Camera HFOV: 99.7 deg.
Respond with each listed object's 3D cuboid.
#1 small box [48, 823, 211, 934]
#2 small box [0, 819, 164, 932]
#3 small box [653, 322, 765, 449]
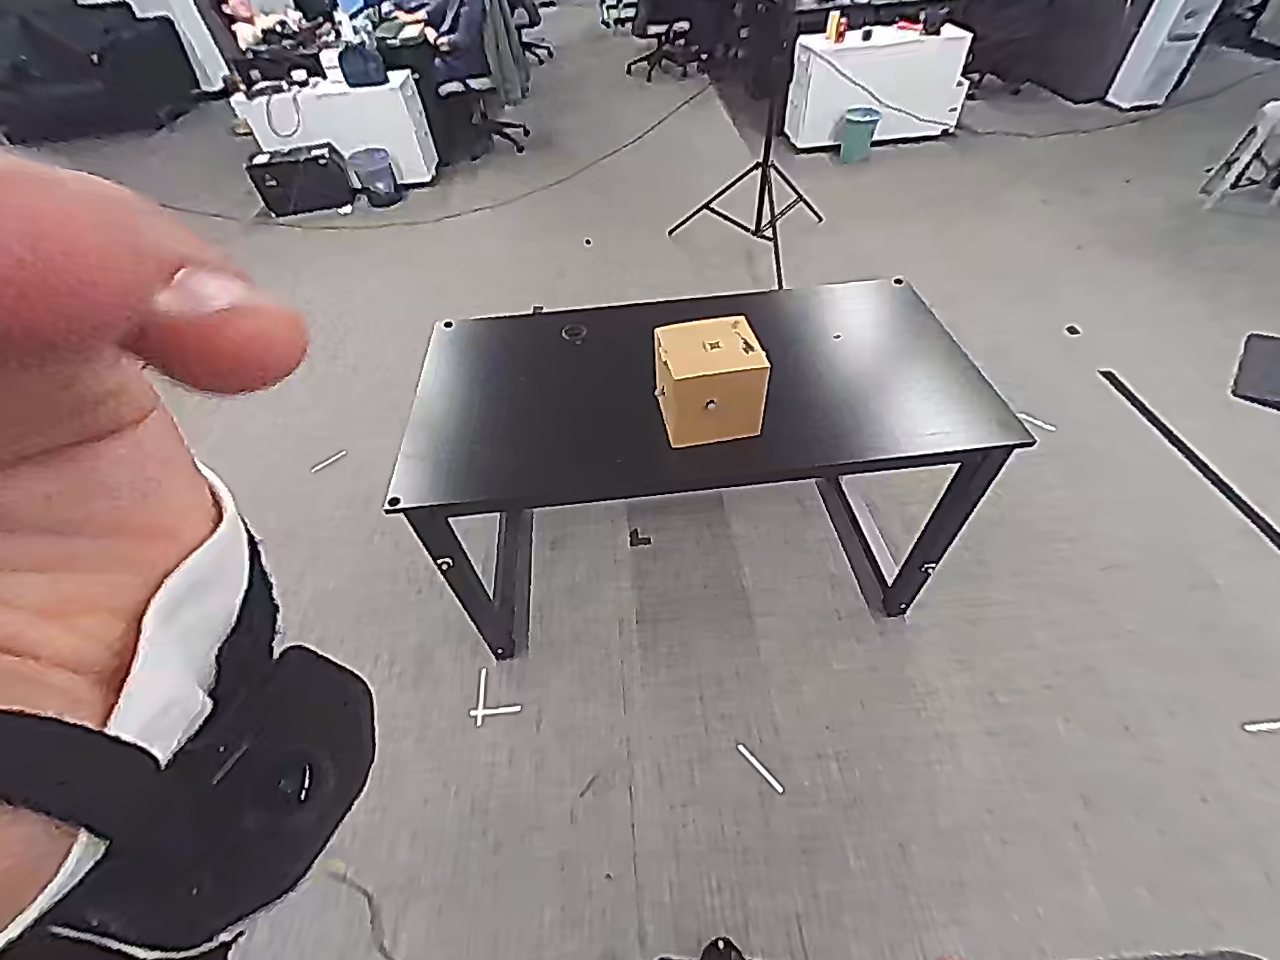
[{"bbox_3d":[-1.096,0.874,1.183,0.168,0.176,0.179,-6,50,-1],"label":"small box"},{"bbox_3d":[-1.108,0.774,1.055,0.179,0.176,0.168,-4,51,-1],"label":"small box"},{"bbox_3d":[0.129,-0.178,1.045,0.179,0.176,0.168,-10,48,-3],"label":"small box"}]
